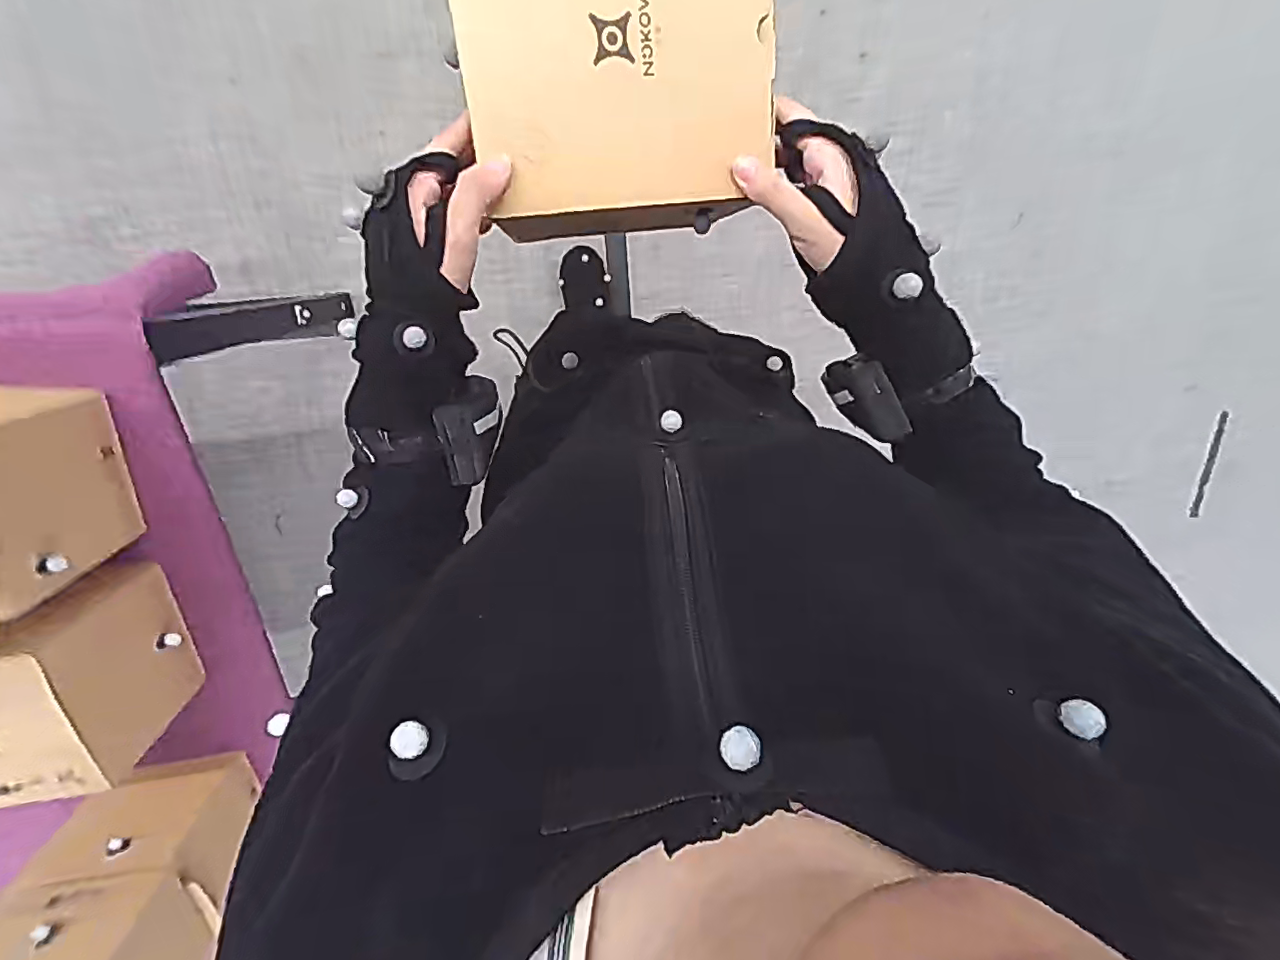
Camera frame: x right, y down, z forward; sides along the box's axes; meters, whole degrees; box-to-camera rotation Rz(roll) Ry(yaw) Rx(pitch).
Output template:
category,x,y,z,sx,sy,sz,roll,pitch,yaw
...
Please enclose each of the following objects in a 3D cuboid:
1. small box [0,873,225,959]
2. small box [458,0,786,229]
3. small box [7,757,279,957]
category,x,y,z,sx,sy,sz,roll,pitch,yaw
small box,-0.567,0.543,0.543,0.168,0.176,0.179,-6,112,-7
small box,-0.018,-0.270,0.361,0.179,0.176,0.168,-9,111,-7
small box,-0.603,0.488,0.694,0.179,0.176,0.168,-8,112,-4
